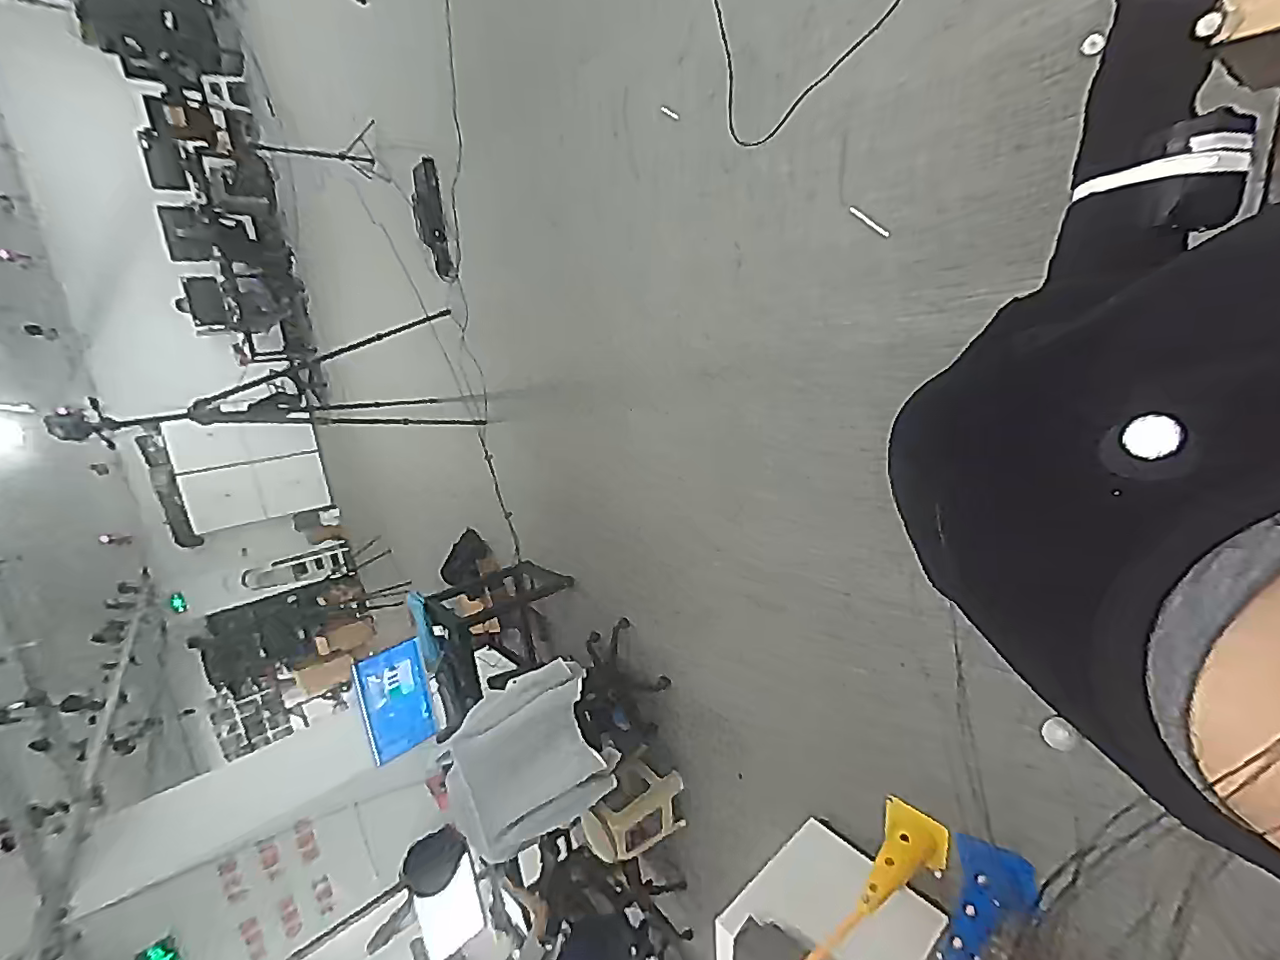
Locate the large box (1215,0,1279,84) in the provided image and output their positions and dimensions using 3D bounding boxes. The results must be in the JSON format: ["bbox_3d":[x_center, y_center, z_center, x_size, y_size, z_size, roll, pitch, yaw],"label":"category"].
[{"bbox_3d":[0.598,-0.427,0.238,0.408,0.320,0.320,18,122,46],"label":"large box"}]
